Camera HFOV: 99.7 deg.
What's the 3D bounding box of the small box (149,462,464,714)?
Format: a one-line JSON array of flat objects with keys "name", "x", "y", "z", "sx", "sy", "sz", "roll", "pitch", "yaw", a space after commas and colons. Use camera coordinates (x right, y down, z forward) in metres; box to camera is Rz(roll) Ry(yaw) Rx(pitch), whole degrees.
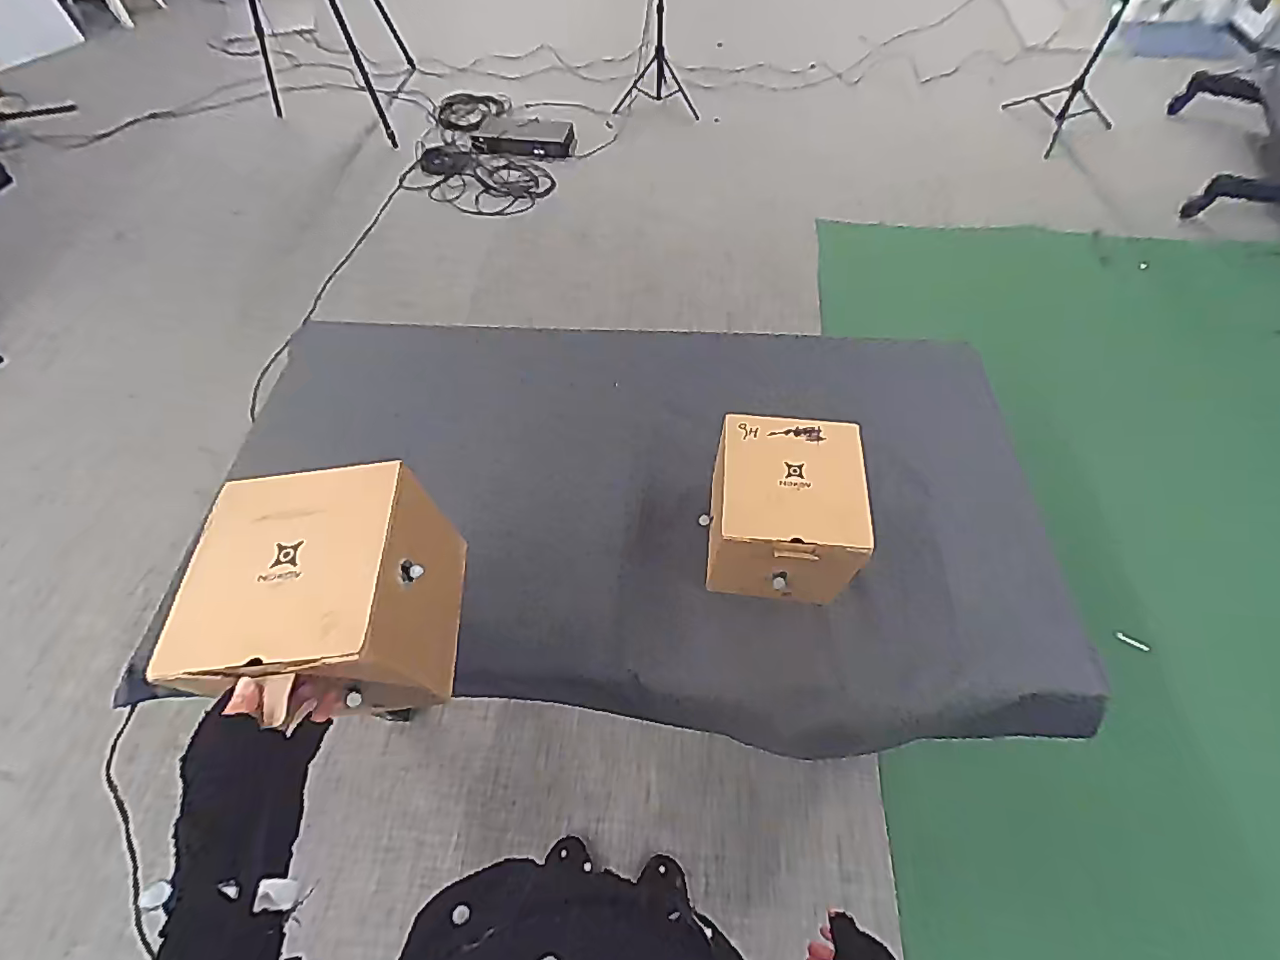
[{"name": "small box", "x": -0.275, "y": 0.108, "z": 0.500, "sx": 0.168, "sy": 0.176, "sz": 0.179, "roll": -7, "pitch": 56, "yaw": 1}]
